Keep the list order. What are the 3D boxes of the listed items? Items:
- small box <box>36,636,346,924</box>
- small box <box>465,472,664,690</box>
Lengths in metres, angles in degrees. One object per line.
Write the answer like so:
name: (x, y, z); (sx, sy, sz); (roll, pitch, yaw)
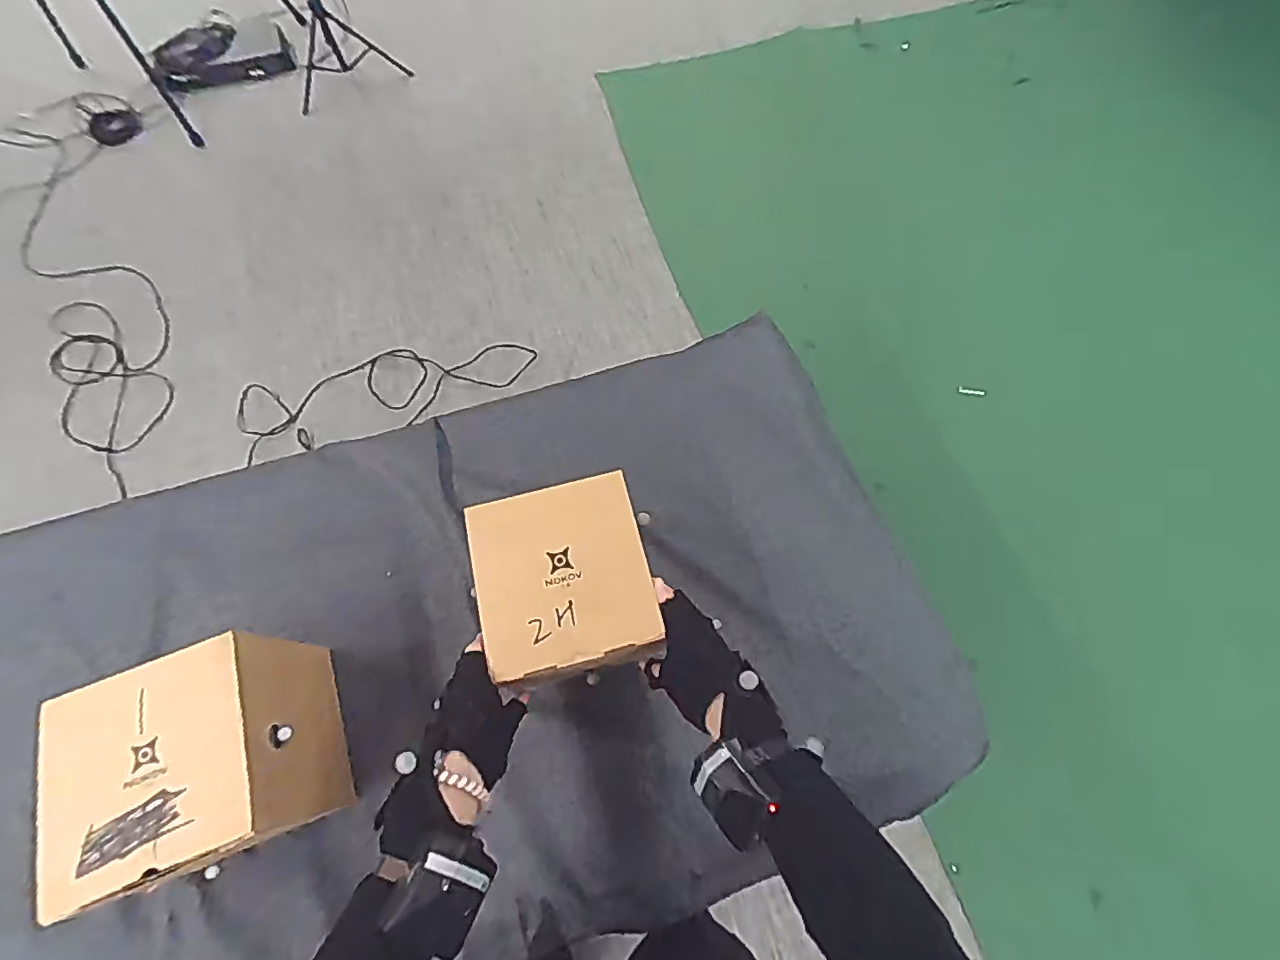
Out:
small box: (-0.417, 0.273, 0.530); (0.168, 0.176, 0.179); (-21, 68, -8)
small box: (-0.077, 0.118, 0.590); (0.168, 0.176, 0.179); (-14, 67, -4)
